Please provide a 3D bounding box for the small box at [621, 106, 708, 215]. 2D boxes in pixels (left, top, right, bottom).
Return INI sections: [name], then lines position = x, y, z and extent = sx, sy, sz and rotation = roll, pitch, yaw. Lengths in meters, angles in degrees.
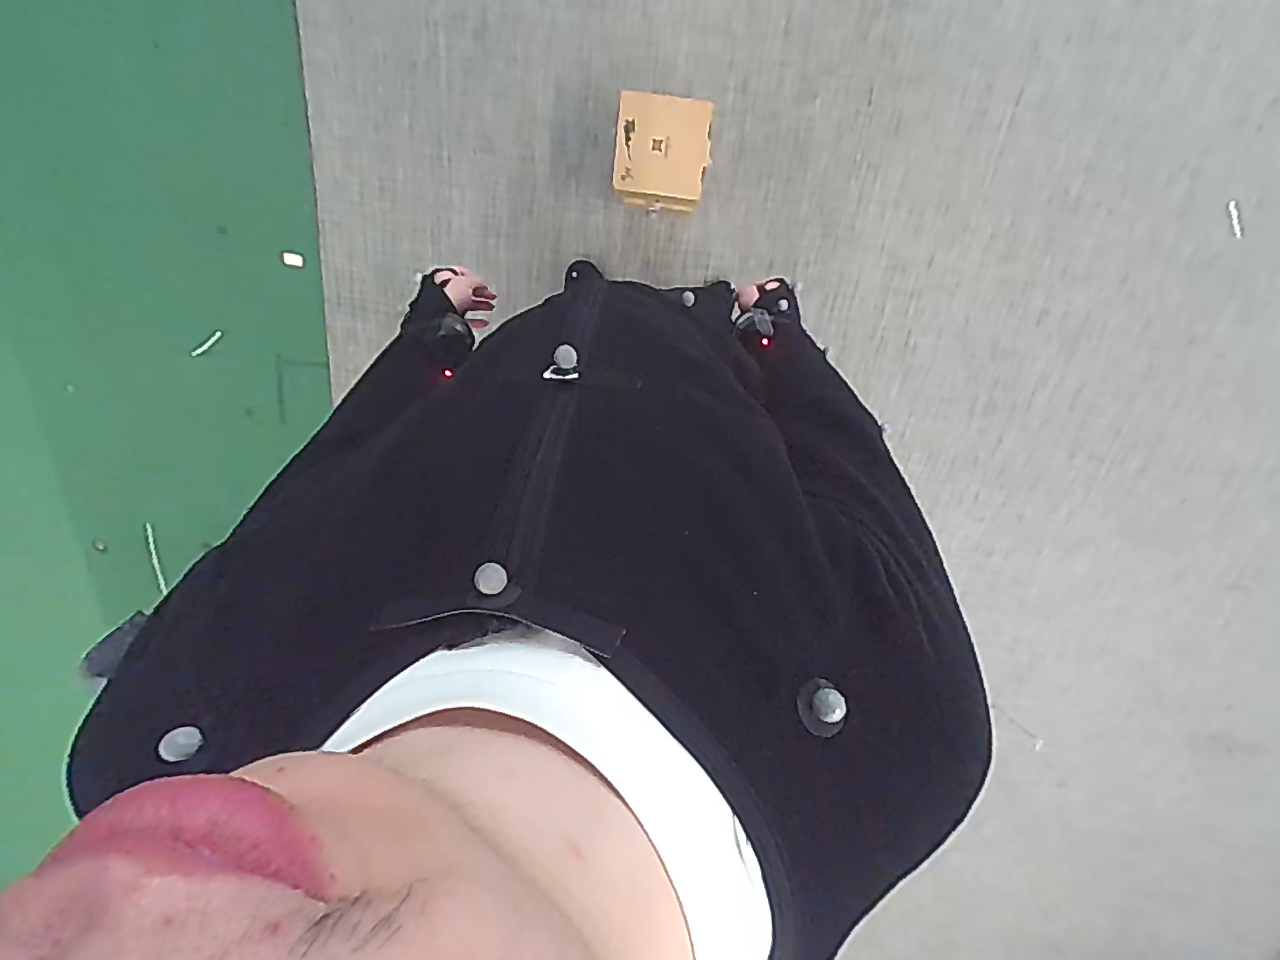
[small box]
position = 0.054, -0.720, 1.237
extent = 0.168, 0.176, 0.179
rotation = 10, 113, 0
